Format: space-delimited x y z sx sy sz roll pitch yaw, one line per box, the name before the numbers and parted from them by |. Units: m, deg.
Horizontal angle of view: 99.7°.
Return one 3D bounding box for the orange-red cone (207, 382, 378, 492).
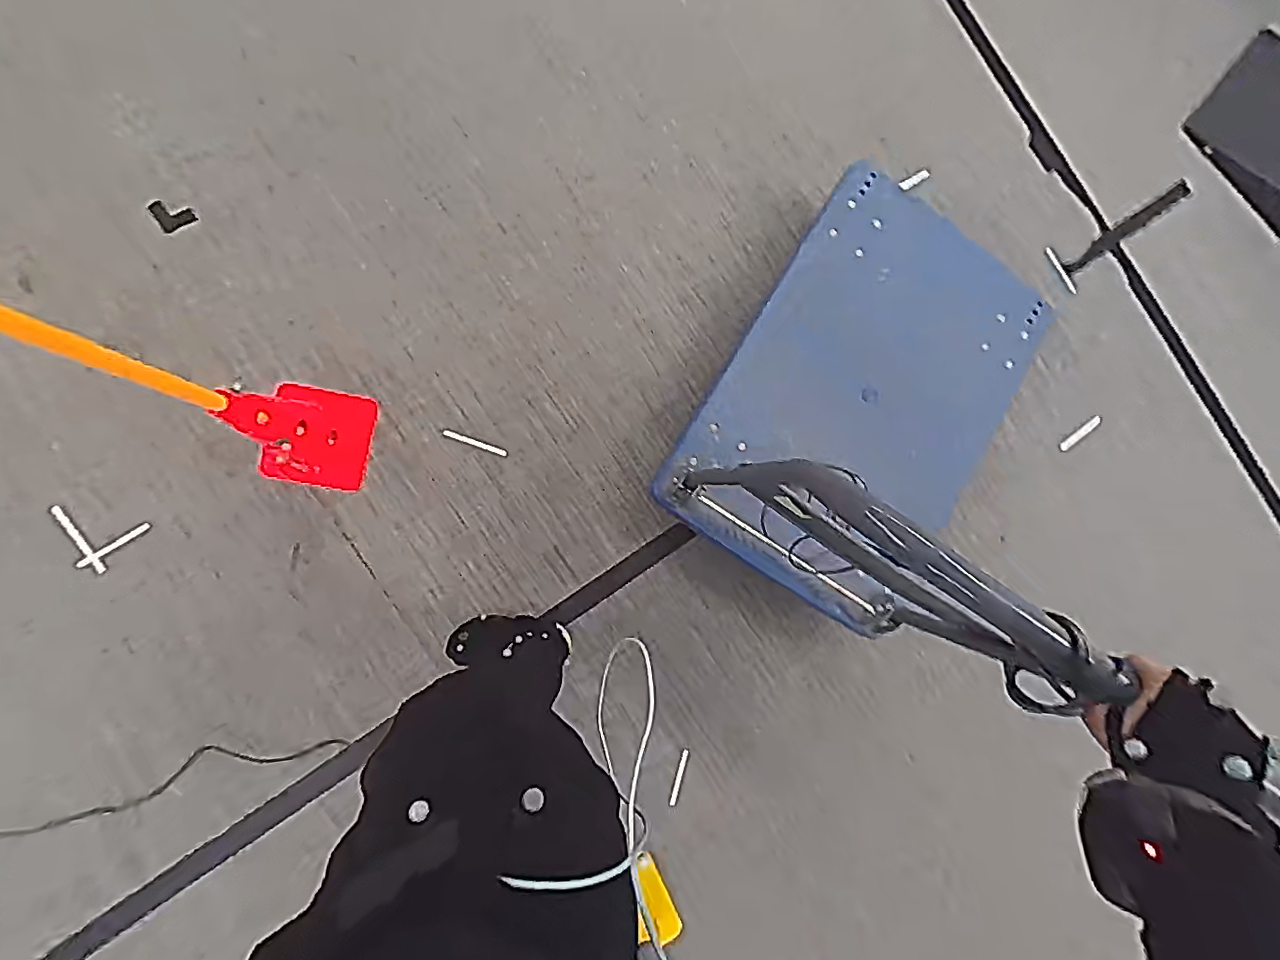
orange-red cone | -0.622 -0.097 0.935 0.199 0.360 0.198 12 85 -10
